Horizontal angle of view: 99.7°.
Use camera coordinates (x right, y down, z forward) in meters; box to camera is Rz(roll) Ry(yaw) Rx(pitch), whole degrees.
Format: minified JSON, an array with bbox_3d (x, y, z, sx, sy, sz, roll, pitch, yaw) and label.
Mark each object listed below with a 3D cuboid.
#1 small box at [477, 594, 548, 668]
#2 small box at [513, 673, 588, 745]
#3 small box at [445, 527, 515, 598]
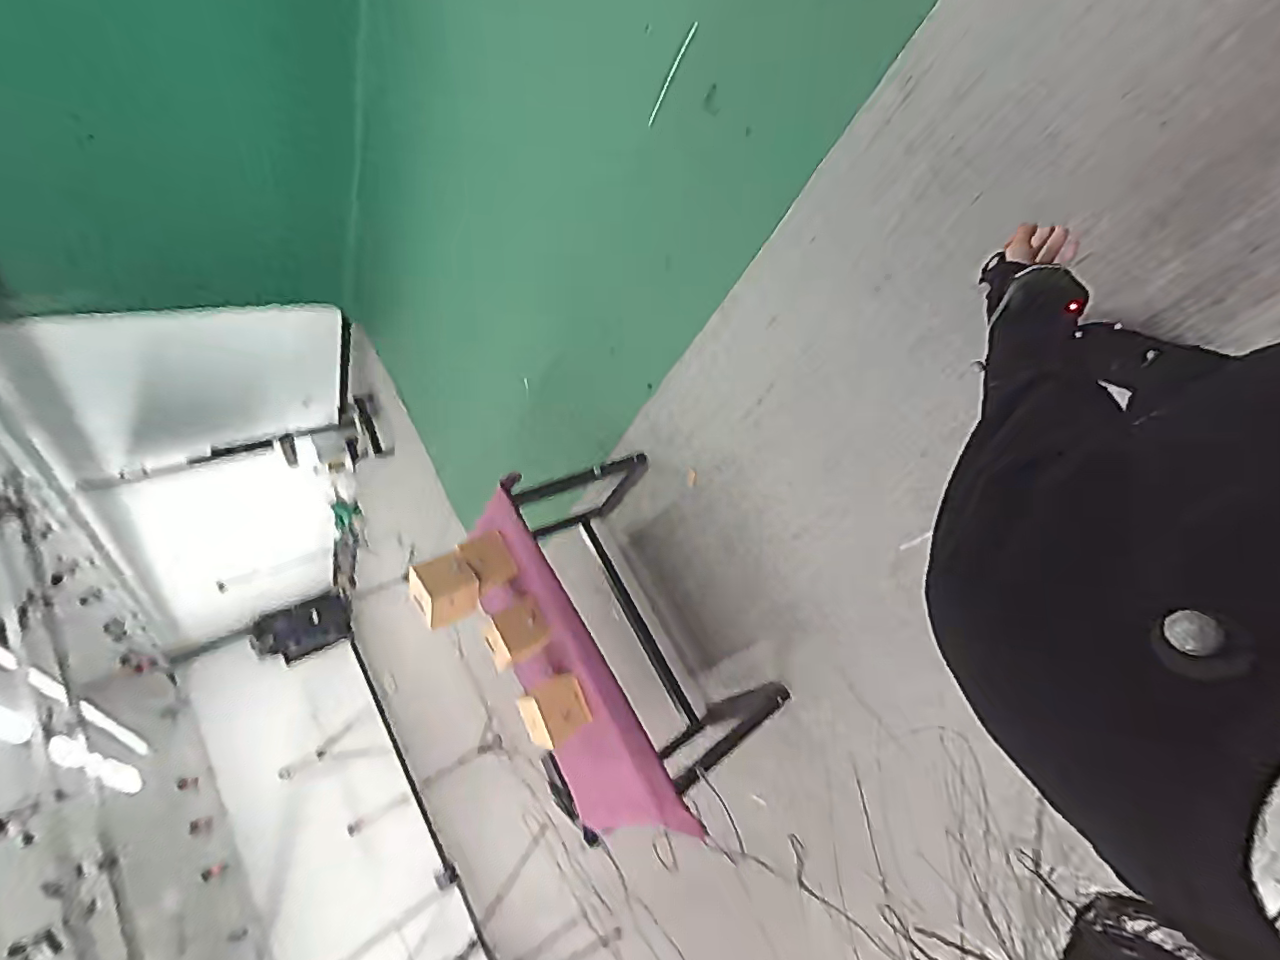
[{"bbox_3d":[-0.450,0.533,1.911,0.168,0.176,0.179,56,139,17],"label":"small box"},{"bbox_3d":[-0.298,0.770,1.837,0.179,0.176,0.168,-28,84,52],"label":"small box"},{"bbox_3d":[-0.577,0.298,1.959,0.179,0.176,0.168,59,141,12],"label":"small box"}]
